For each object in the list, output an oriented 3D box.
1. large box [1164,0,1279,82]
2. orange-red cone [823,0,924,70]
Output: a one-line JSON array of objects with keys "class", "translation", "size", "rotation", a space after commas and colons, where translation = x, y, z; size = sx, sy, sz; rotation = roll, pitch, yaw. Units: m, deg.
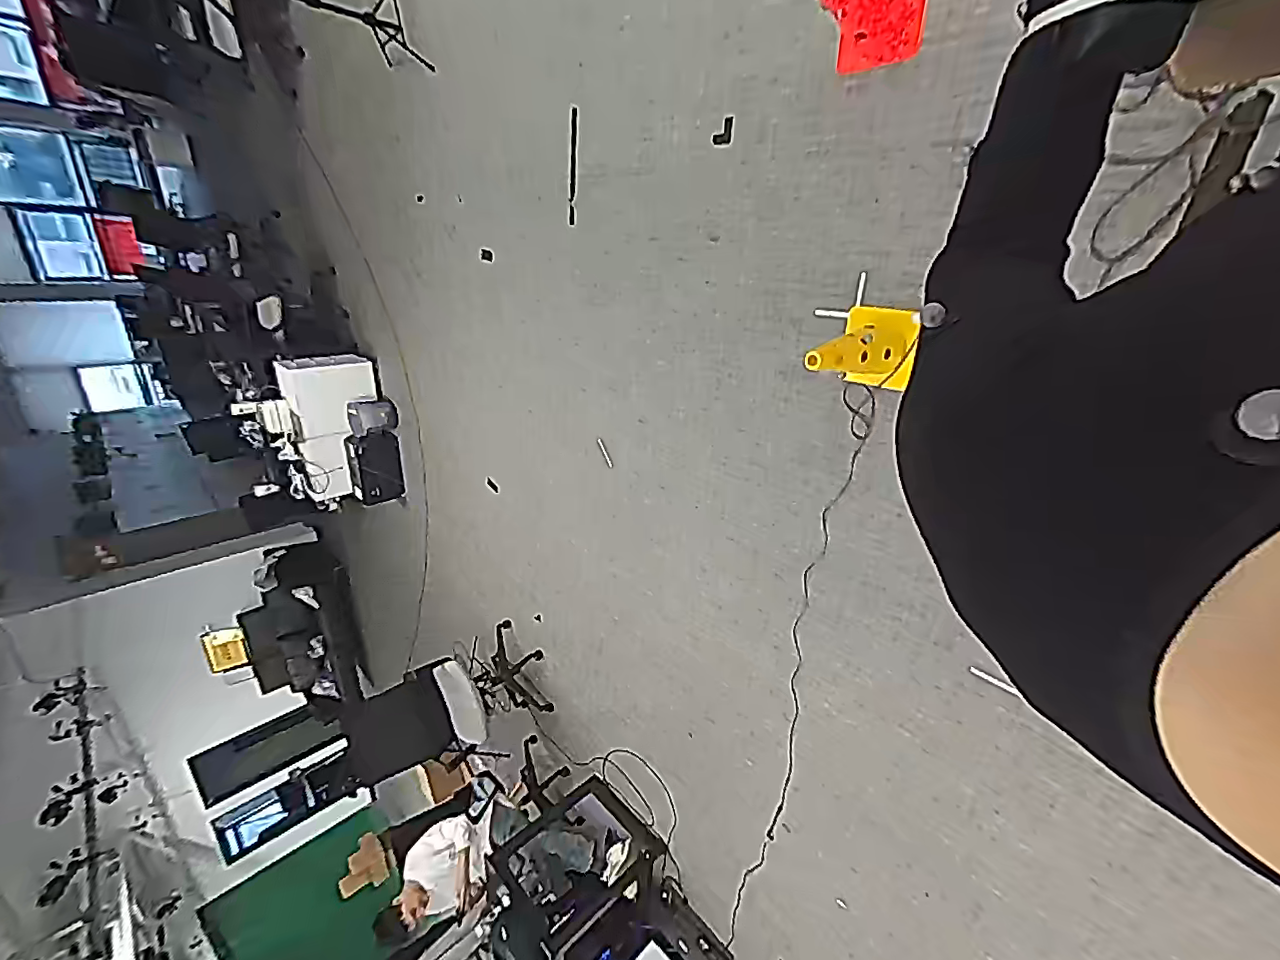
[{"class": "large box", "translation": [0.556, -0.439, 0.247], "size": [0.408, 0.320, 0.320], "rotation": [19, 121, 40]}, {"class": "orange-red cone", "translation": [0.430, -1.033, 1.132], "size": [0.198, 0.360, 0.199], "rotation": [23, 122, 42]}]
